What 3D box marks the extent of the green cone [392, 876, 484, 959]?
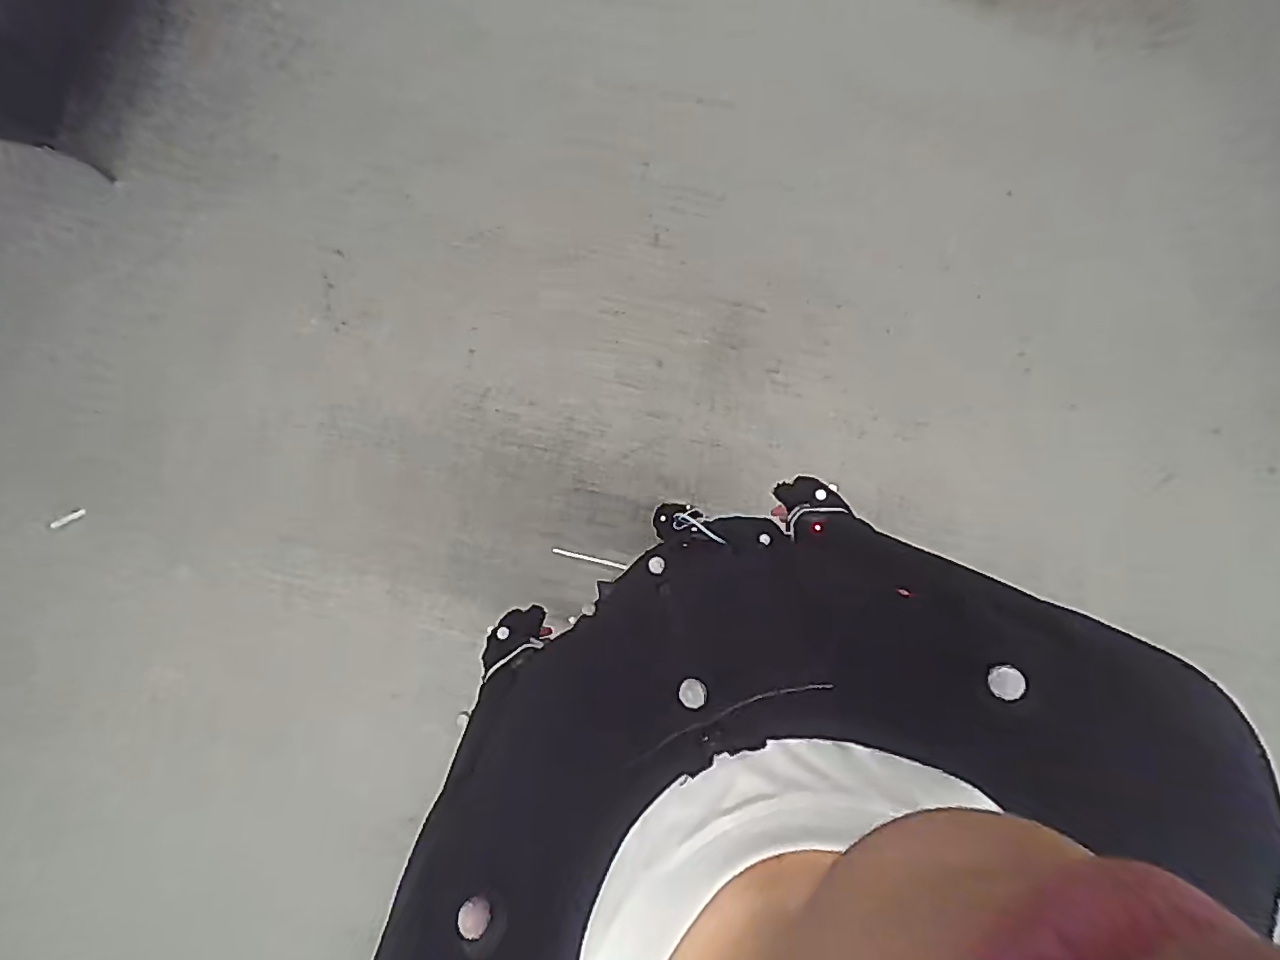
[{"bbox_3d":[-0.504,1.106,1.199,0.202,0.368,0.200,12,84,-1],"label":"green cone"}]
